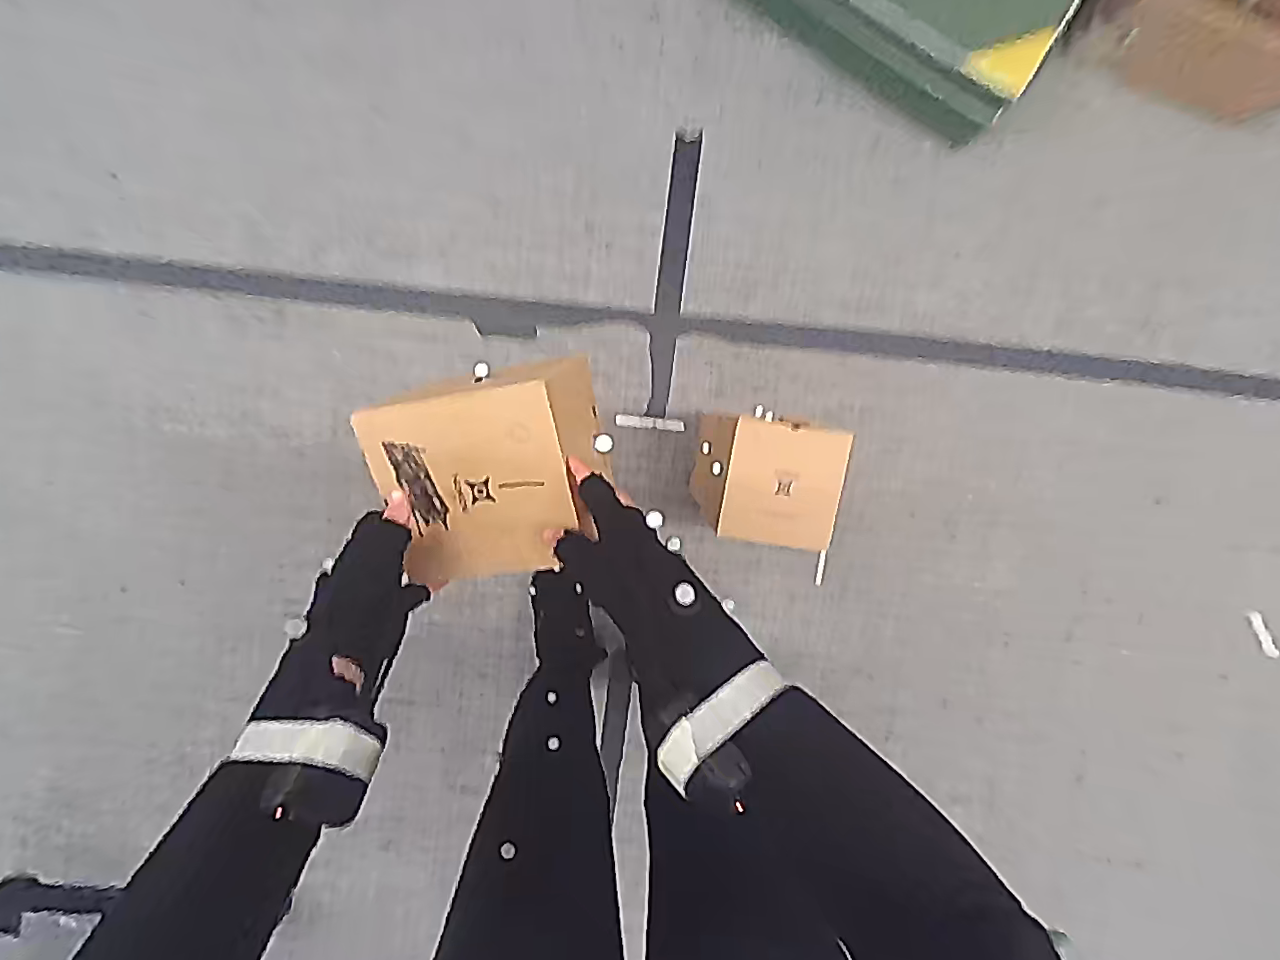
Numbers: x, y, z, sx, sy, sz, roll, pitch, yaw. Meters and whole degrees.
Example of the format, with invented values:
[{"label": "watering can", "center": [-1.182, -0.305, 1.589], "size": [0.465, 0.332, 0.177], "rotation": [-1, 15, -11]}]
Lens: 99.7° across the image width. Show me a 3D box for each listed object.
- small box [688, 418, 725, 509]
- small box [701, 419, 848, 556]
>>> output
[{"label": "small box", "center": [0.199, -0.022, 1.010], "size": [0.179, 0.176, 0.168], "rotation": [10, 96, -5]}, {"label": "small box", "center": [0.198, 0.002, 0.849], "size": [0.168, 0.176, 0.179], "rotation": [10, 98, -3]}]
